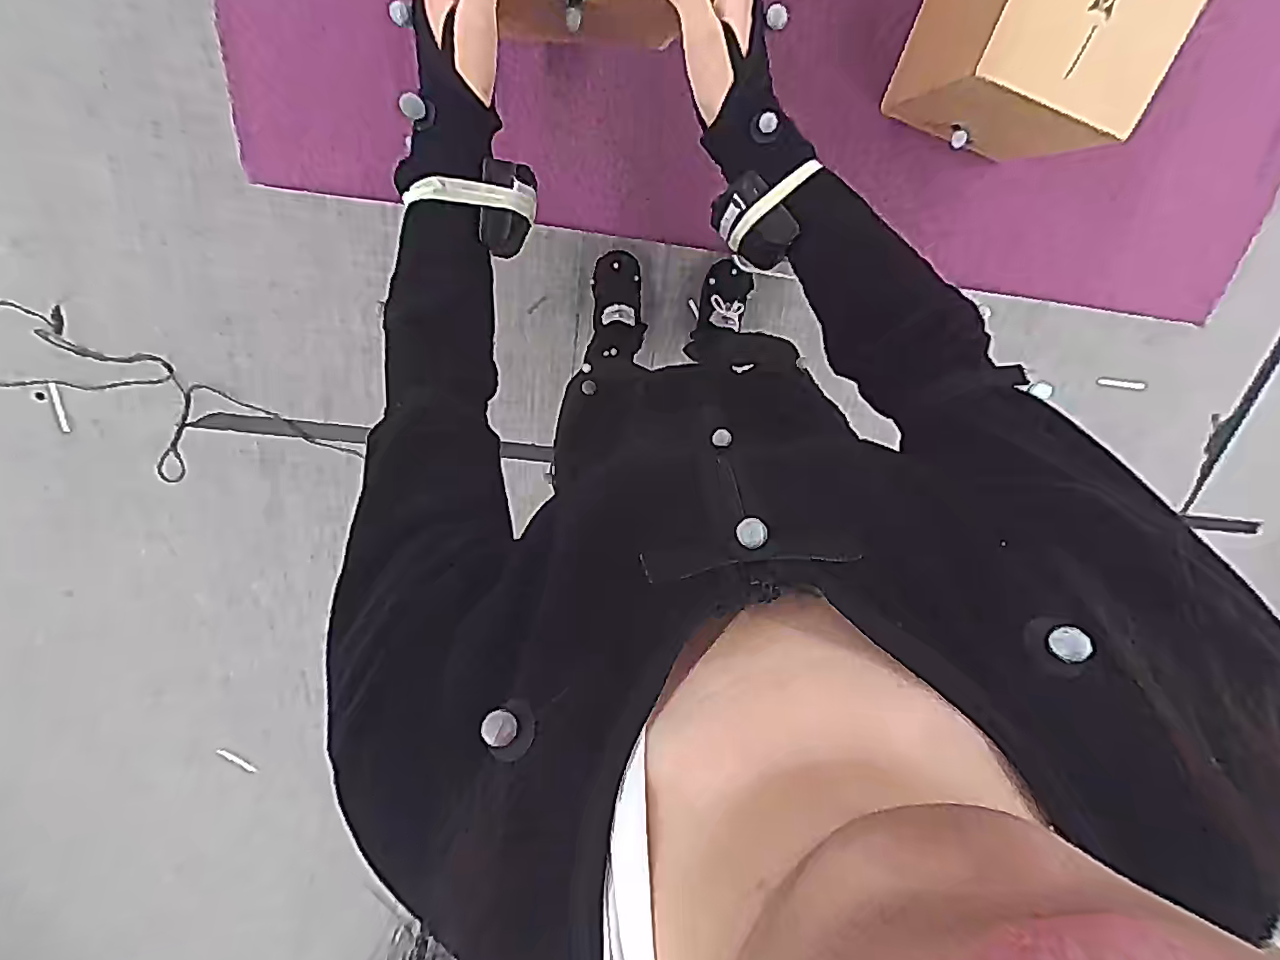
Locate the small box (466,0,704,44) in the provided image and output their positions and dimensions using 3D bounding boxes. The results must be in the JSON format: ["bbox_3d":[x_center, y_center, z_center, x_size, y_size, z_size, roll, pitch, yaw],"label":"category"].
[{"bbox_3d":[-0.047,-0.443,0.395,0.179,0.176,0.168,-2,118,-8],"label":"small box"}]

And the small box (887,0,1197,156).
[{"bbox_3d":[0.371,-0.435,0.511,0.168,0.176,0.179,14,114,-11],"label":"small box"}]
